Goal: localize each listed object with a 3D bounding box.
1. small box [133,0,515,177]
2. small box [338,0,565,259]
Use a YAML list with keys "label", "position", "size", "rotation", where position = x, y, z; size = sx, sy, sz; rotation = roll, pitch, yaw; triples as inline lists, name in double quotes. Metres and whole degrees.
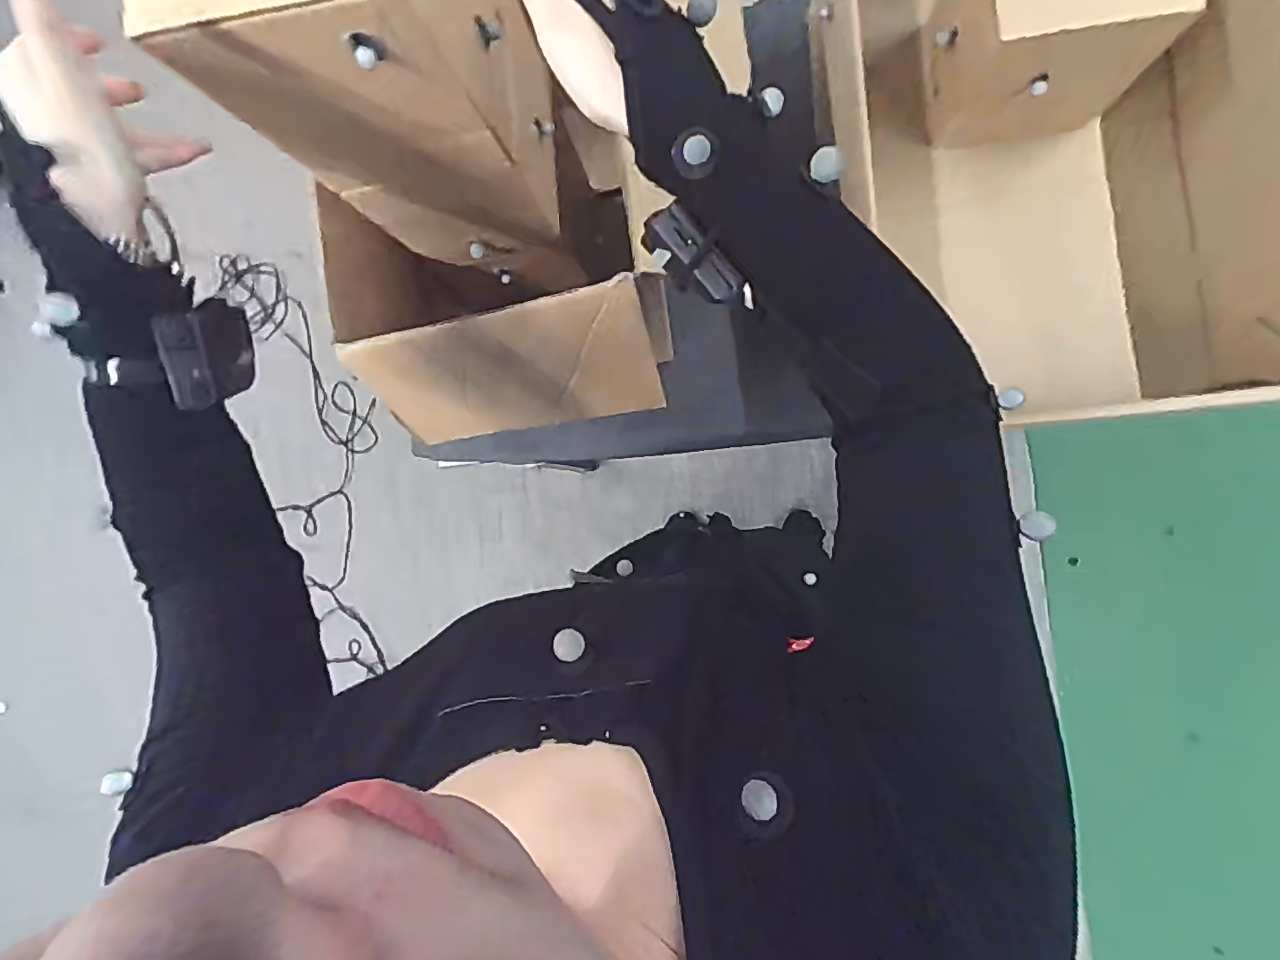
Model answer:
- label: "small box"
  position: [-0.206, -0.347, 0.389]
  size: [0.179, 0.176, 0.168]
  rotation: [-3, 90, 8]
- label: "small box"
  position: [-0.181, -0.350, 0.549]
  size: [0.168, 0.176, 0.179]
  rotation: [-4, 91, 9]
